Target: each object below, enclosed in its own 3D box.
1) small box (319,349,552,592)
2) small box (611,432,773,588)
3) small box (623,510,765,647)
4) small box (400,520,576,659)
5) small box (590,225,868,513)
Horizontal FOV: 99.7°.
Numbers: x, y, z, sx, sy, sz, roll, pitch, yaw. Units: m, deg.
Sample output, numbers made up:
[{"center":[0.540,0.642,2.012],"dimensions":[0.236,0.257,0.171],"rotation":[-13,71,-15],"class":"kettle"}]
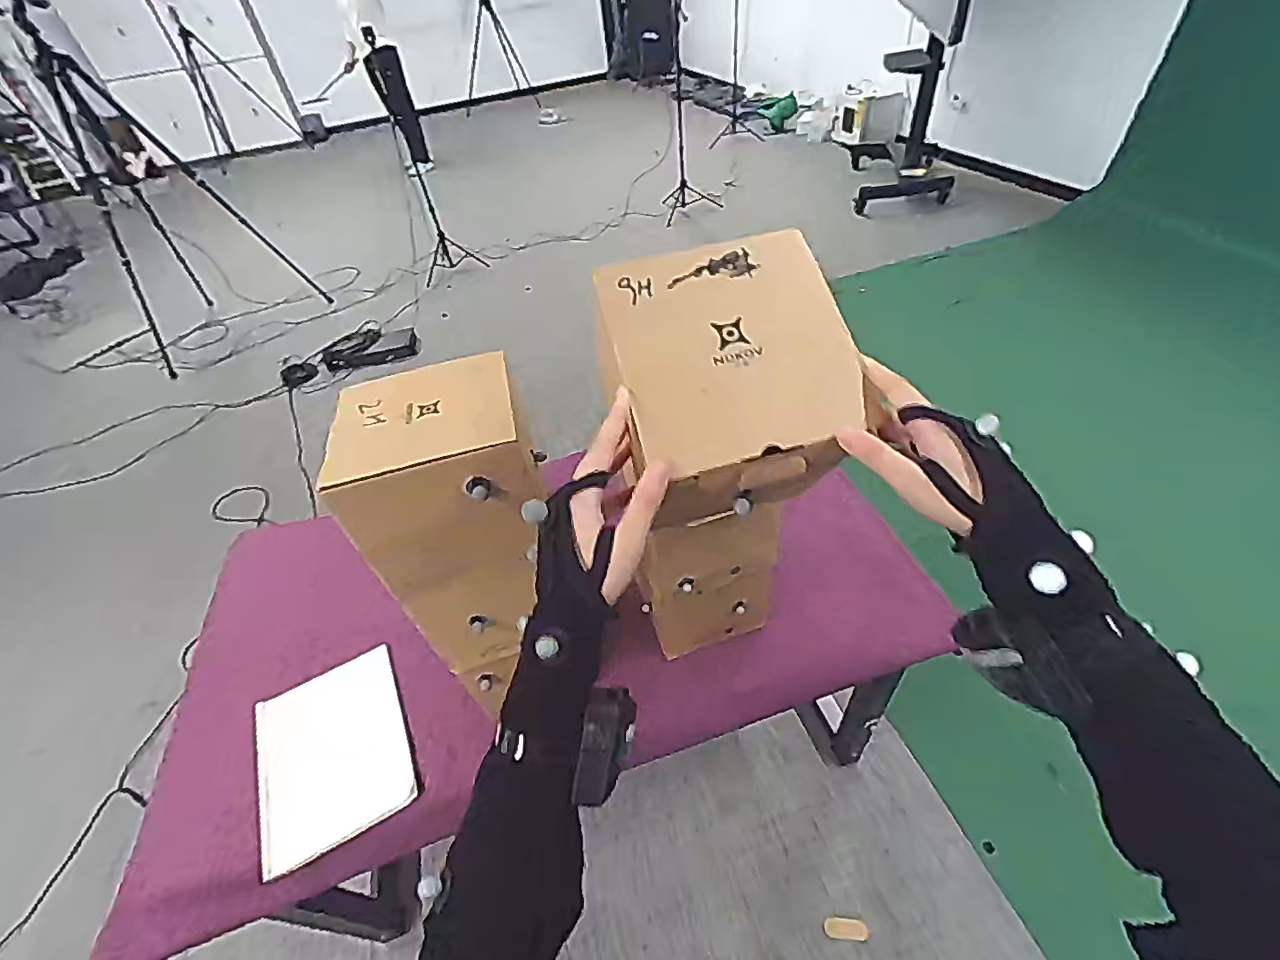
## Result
[{"center":[-0.198,-0.009,0.574],"dimensions":[0.179,0.176,0.168],"rotation":[-15,44,-6],"class":"small box"},{"center":[0.071,0.024,0.734],"dimensions":[0.168,0.176,0.179],"rotation":[-17,44,-9],"class":"small box"},{"center":[0.083,0.139,0.850],"dimensions":[0.168,0.176,0.179],"rotation":[-16,44,-8],"class":"small box"},{"center":[-0.189,0.106,0.692],"dimensions":[0.168,0.176,0.179],"rotation":[-17,44,-8],"class":"small box"},{"center":[0.058,-0.077,0.465],"dimensions":[0.168,0.176,0.179],"rotation":[-13,76,-6],"class":"small box"}]
